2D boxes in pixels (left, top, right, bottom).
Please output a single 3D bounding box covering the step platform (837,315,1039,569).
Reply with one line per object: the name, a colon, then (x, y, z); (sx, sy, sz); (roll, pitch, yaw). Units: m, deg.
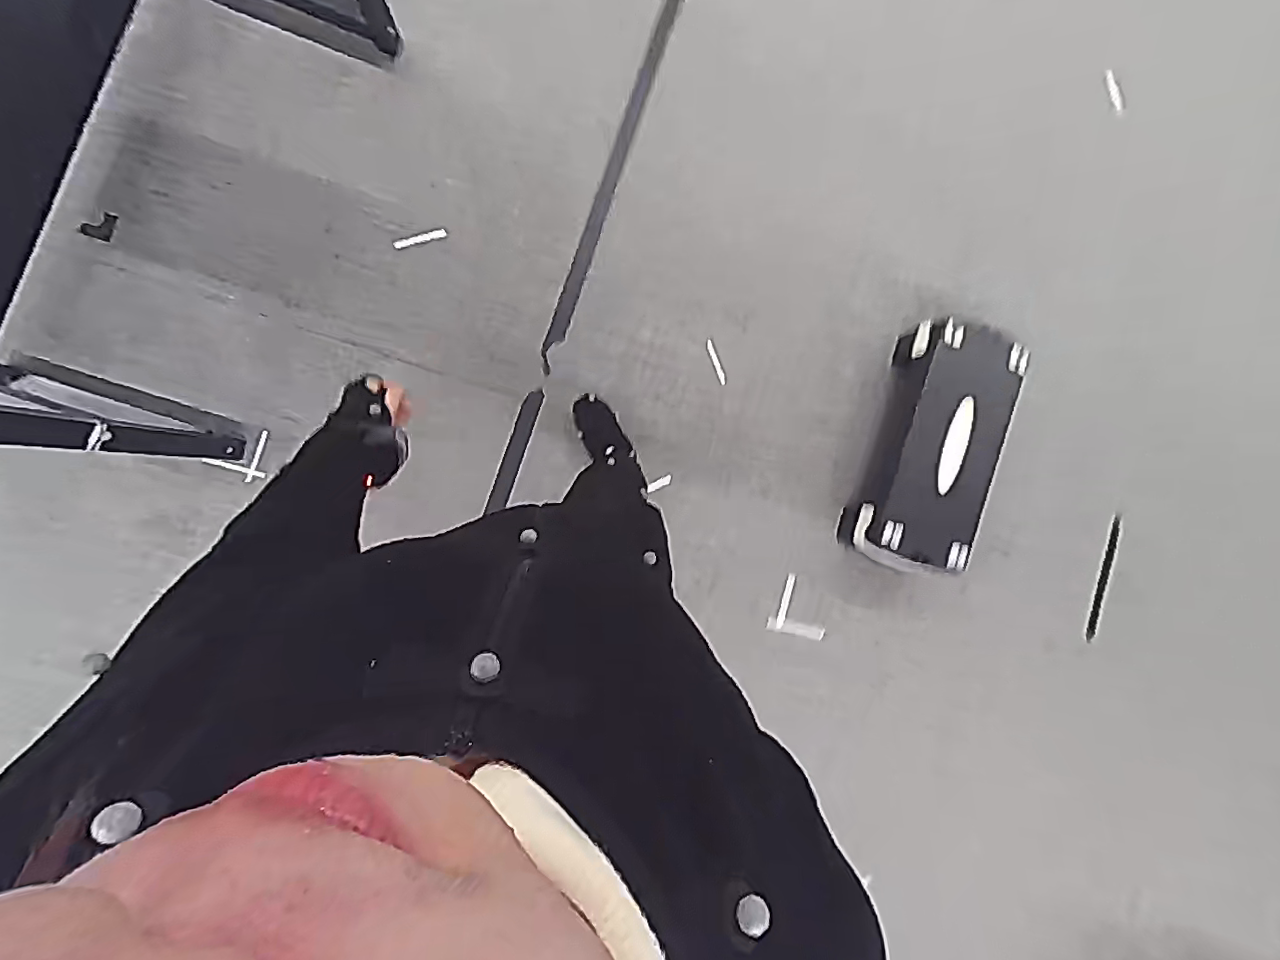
step platform: (0.829, -0.102, 1.509); (0.286, 0.204, 0.684); (25, 85, -6)
